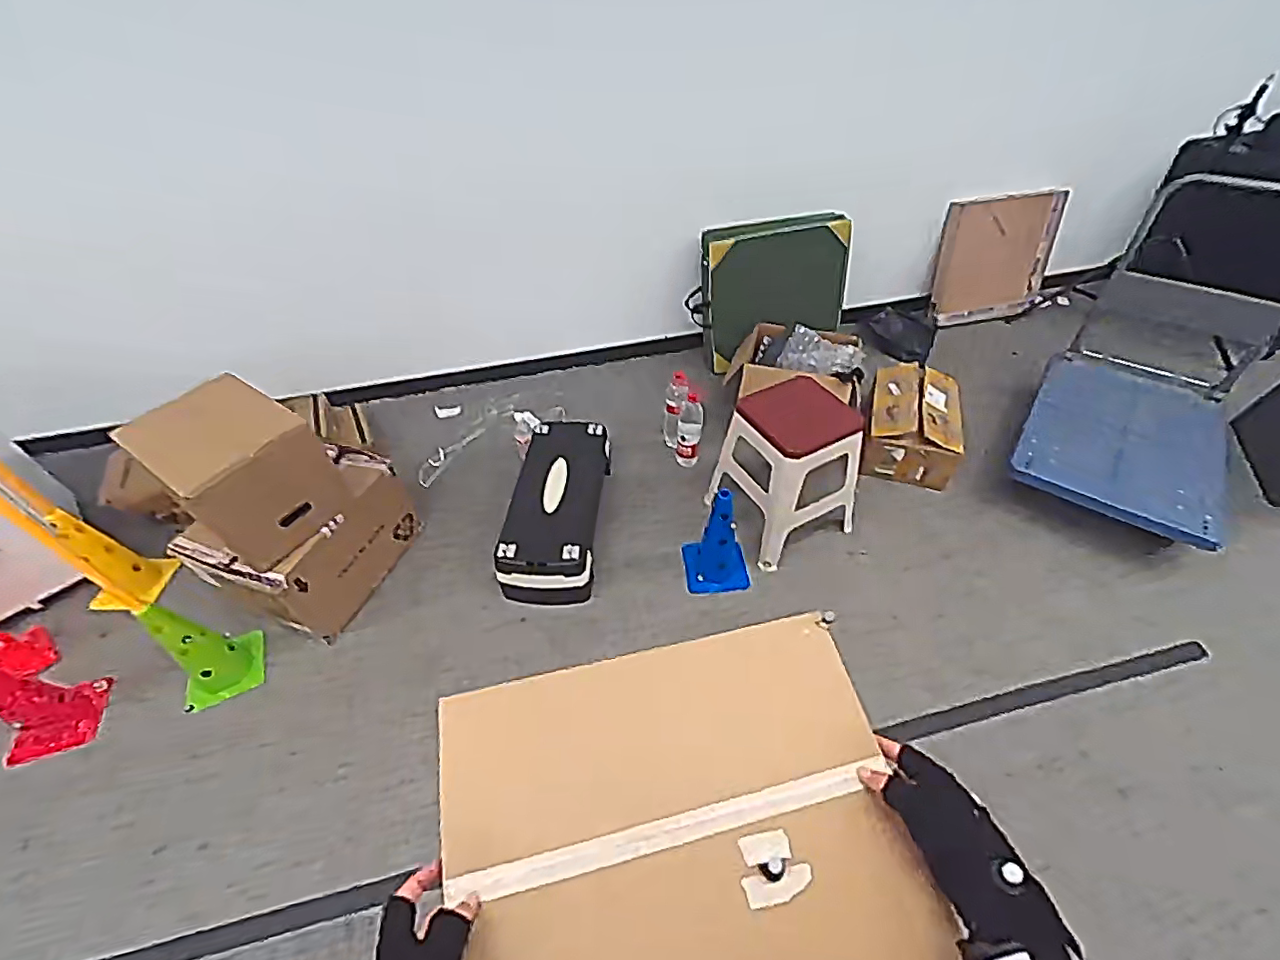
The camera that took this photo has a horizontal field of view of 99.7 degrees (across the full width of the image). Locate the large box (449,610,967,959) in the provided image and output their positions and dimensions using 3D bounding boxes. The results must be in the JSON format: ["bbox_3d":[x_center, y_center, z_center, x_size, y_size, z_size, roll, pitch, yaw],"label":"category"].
[{"bbox_3d":[0.034,0.389,0.607,0.408,0.320,0.320,-11,57,-10],"label":"large box"}]
